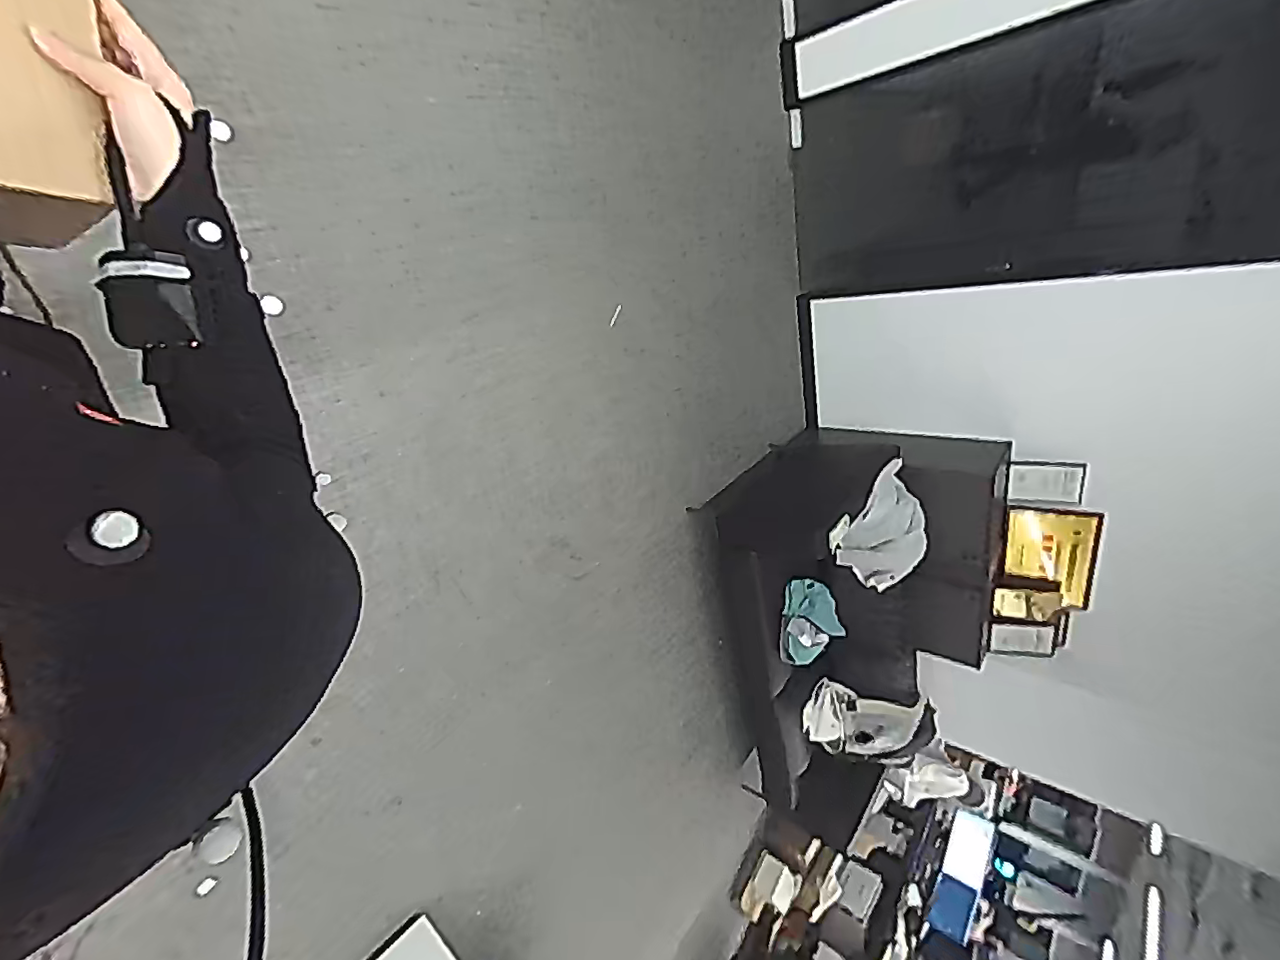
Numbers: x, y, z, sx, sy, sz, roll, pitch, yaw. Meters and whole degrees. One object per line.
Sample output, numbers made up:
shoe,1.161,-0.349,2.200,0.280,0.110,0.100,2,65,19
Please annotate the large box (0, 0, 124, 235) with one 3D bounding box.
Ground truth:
large box,-0.611,-0.348,0.292,0.408,0.320,0.320,-14,111,-52
